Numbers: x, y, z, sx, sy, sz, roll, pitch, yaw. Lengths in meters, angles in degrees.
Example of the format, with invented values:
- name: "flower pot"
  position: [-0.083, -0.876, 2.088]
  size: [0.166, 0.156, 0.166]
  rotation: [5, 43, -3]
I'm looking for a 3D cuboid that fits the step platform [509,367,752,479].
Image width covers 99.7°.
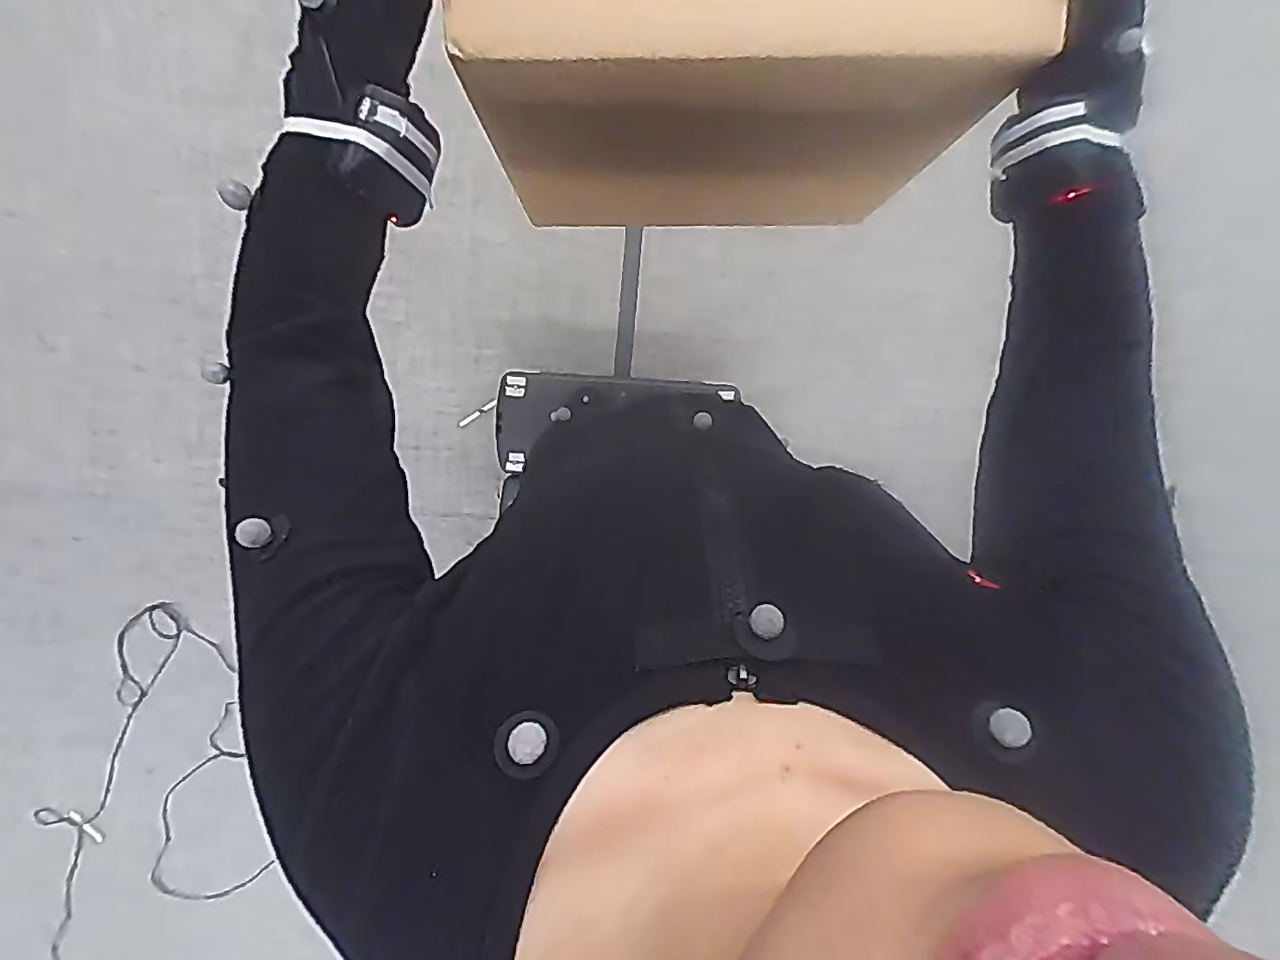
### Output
- name: "step platform"
  position: [-0.027, -0.163, 1.555]
  size: [0.684, 0.204, 0.286]
  rotation: [2, 99, -5]

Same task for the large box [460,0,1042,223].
- name: "large box"
  position: [0.067, -0.454, 0.500]
  size: [0.408, 0.320, 0.320]
  rotation: [-1, 97, -2]
